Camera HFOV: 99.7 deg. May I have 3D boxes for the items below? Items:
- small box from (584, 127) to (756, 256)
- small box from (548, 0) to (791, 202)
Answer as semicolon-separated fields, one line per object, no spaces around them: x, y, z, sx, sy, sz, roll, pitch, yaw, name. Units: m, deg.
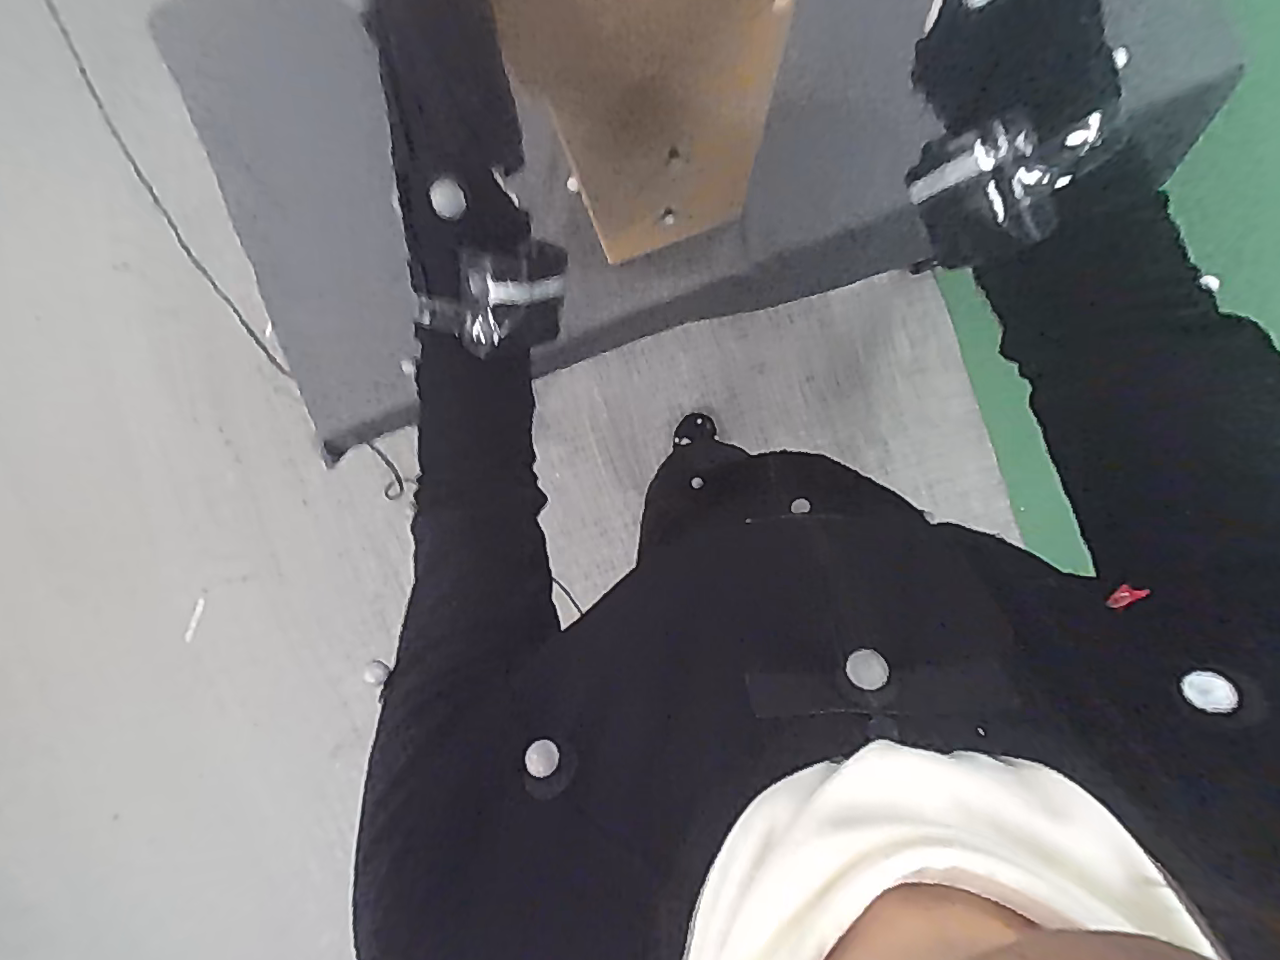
0.015;-0.380;0.603;0.179;0.176;0.168;-15;90;5;small box
0.001;-0.367;0.443;0.179;0.176;0.168;-18;91;5;small box
